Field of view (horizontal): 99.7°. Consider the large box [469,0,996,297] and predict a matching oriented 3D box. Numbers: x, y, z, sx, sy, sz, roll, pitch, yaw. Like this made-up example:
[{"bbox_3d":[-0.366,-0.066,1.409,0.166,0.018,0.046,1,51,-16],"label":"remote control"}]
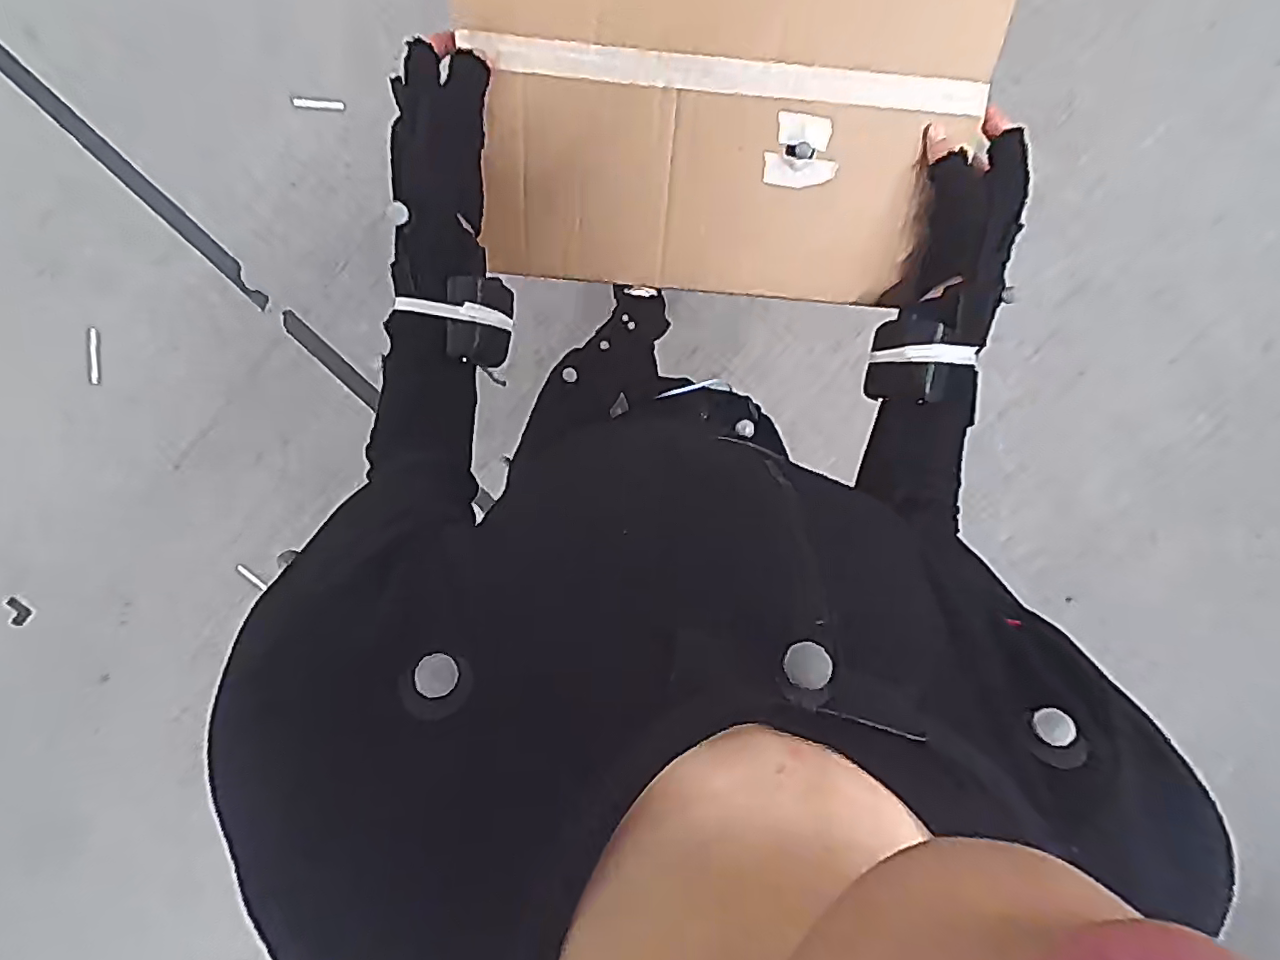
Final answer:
[{"bbox_3d":[0.062,-0.386,0.561,0.408,0.320,0.320,4,118,-3],"label":"large box"}]
